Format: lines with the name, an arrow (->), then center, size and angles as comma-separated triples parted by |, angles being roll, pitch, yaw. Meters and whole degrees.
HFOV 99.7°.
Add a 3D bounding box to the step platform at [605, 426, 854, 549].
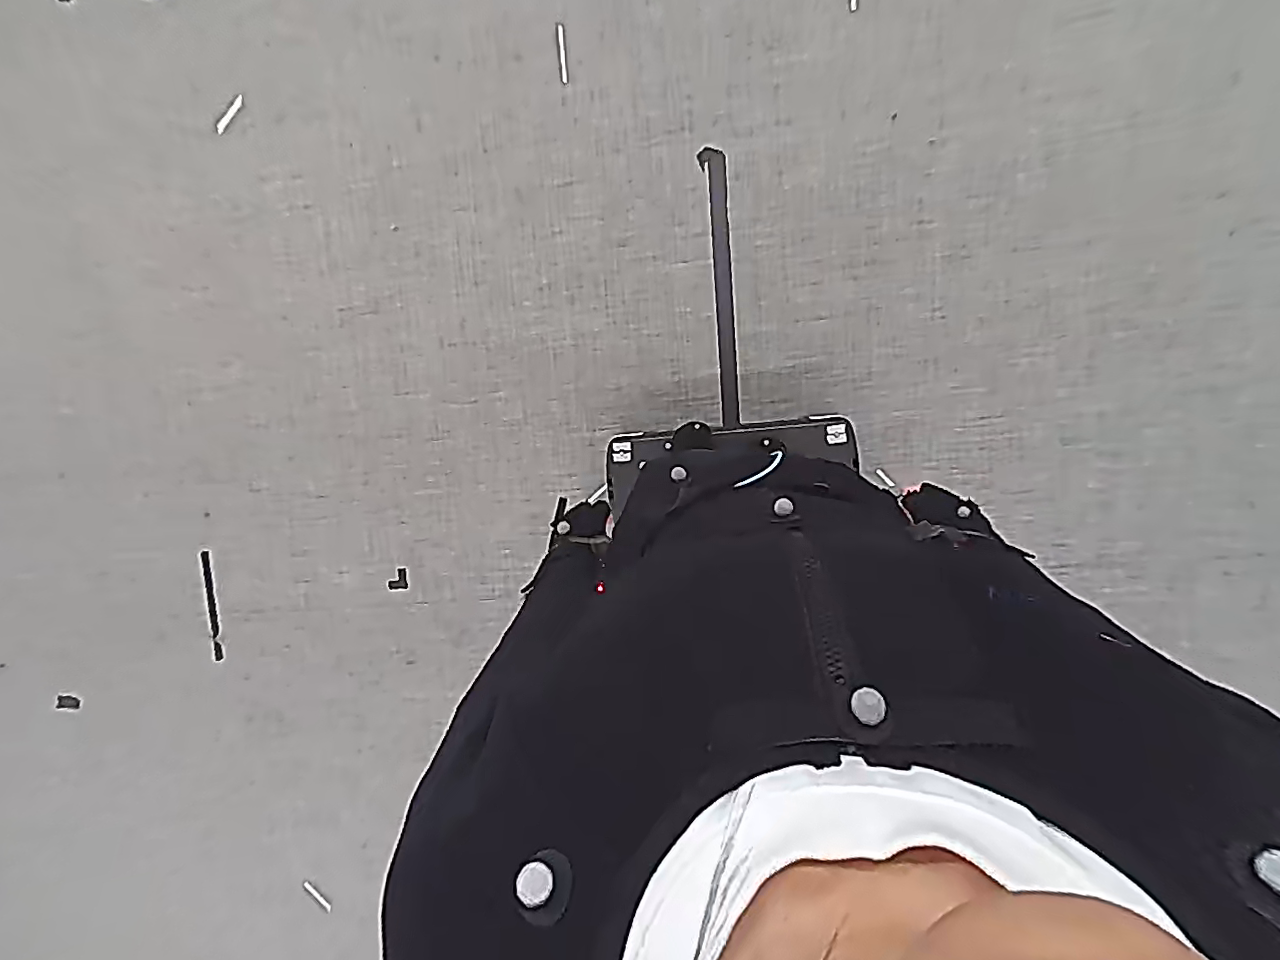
step platform -> 0.241, 0.022, 1.536 | 0.684, 0.204, 0.286 | -6, 96, 7
